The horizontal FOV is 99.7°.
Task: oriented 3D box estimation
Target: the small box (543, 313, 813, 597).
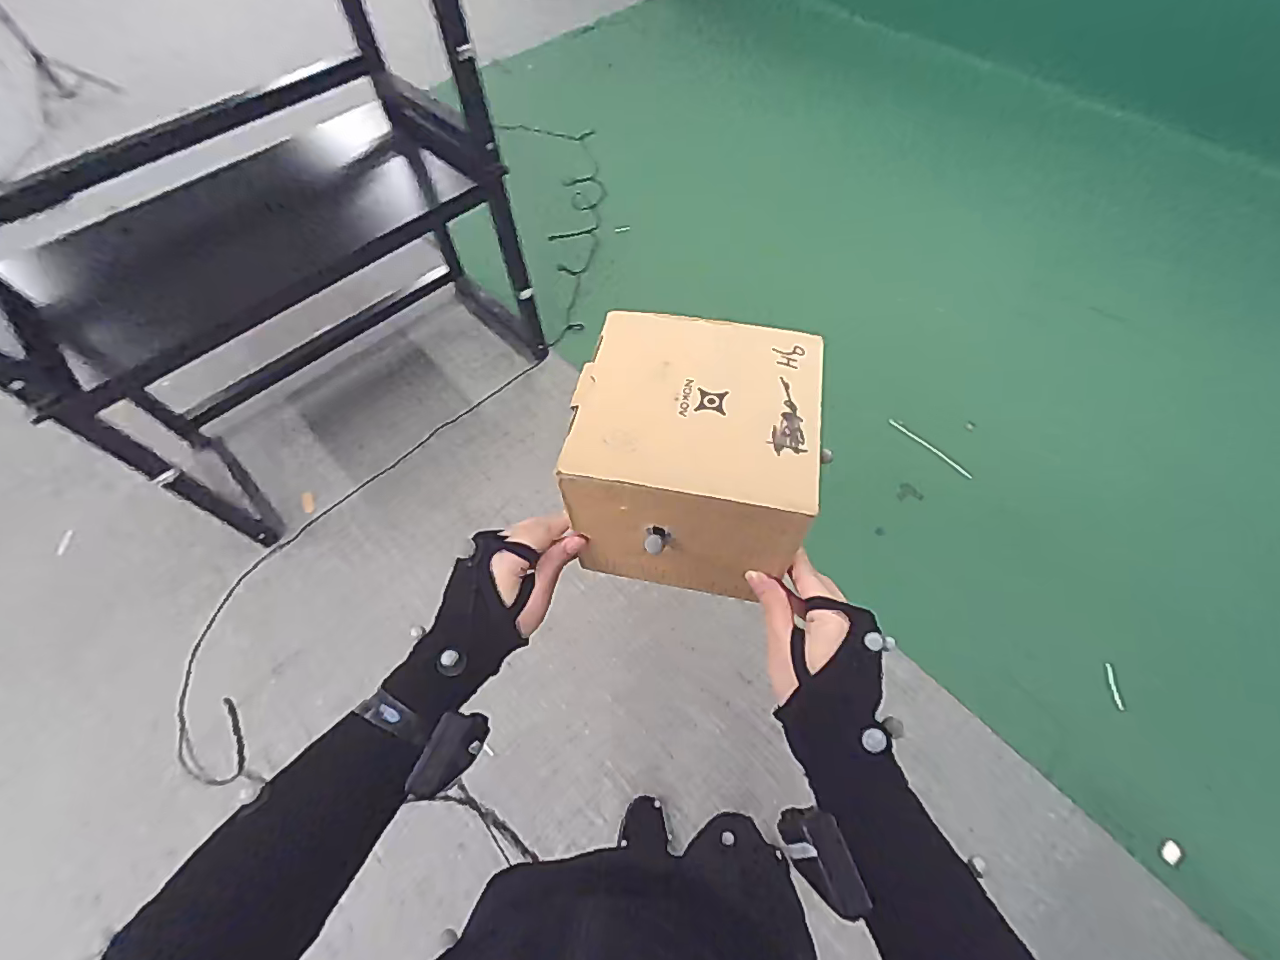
[{"bbox_3d":[0.038,-0.015,0.457,0.179,0.176,0.168,8,58,8],"label":"small box"}]
